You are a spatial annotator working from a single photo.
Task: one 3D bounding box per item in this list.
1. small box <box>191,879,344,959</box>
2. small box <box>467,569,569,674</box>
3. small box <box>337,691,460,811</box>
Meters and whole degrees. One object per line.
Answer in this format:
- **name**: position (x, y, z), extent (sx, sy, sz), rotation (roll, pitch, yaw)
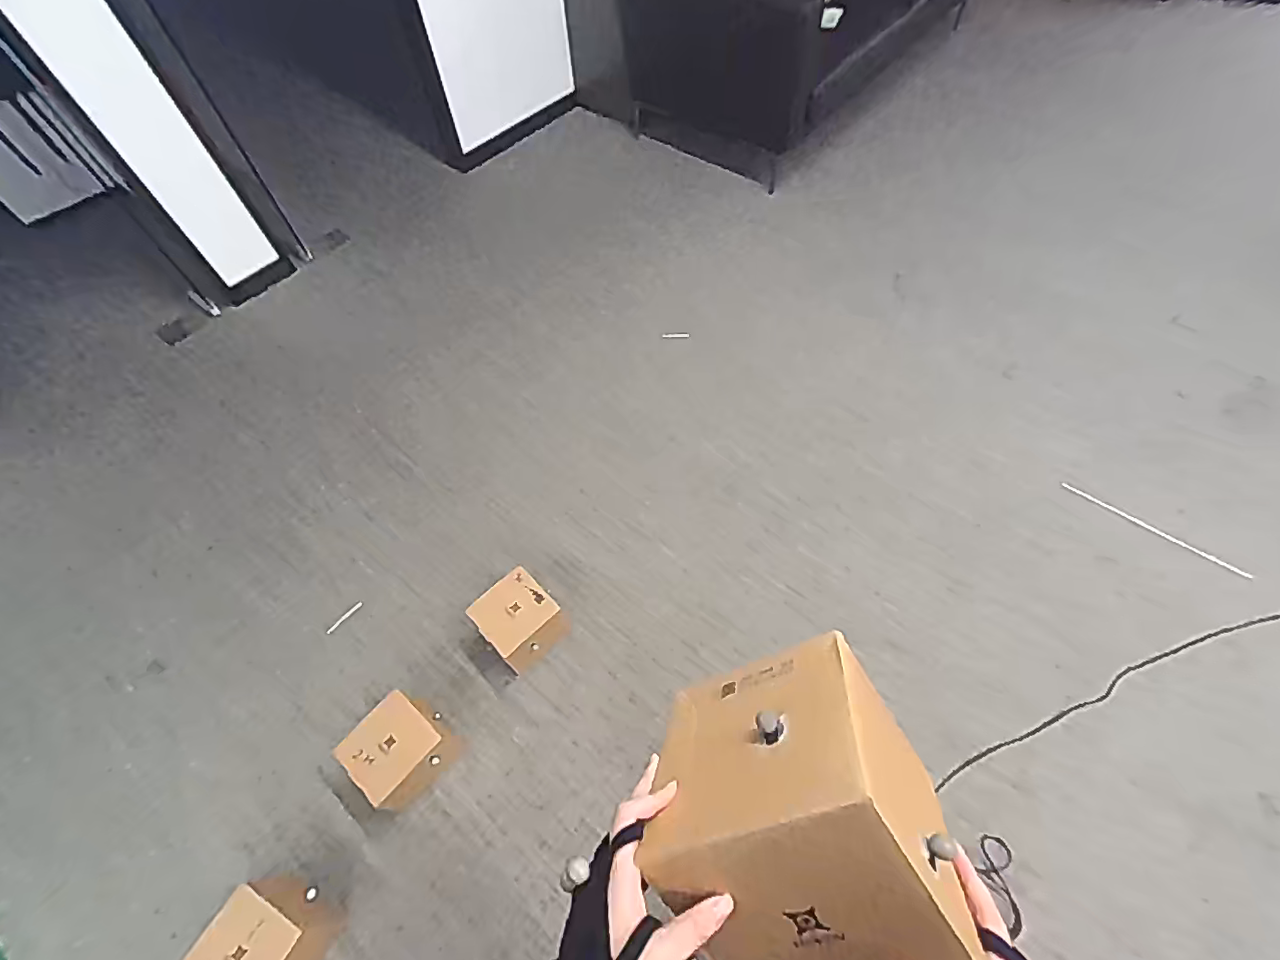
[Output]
- **small box**: position (-0.725, 0.919, 1.051), extent (0.168, 0.176, 0.179), rotation (23, 61, 16)
- **small box**: position (-0.303, 0.367, 1.382), extent (0.179, 0.176, 0.168), rotation (-40, 65, -20)
- **small box**: position (-0.535, 0.619, 1.232), extent (0.168, 0.176, 0.179), rotation (35, 65, 22)
